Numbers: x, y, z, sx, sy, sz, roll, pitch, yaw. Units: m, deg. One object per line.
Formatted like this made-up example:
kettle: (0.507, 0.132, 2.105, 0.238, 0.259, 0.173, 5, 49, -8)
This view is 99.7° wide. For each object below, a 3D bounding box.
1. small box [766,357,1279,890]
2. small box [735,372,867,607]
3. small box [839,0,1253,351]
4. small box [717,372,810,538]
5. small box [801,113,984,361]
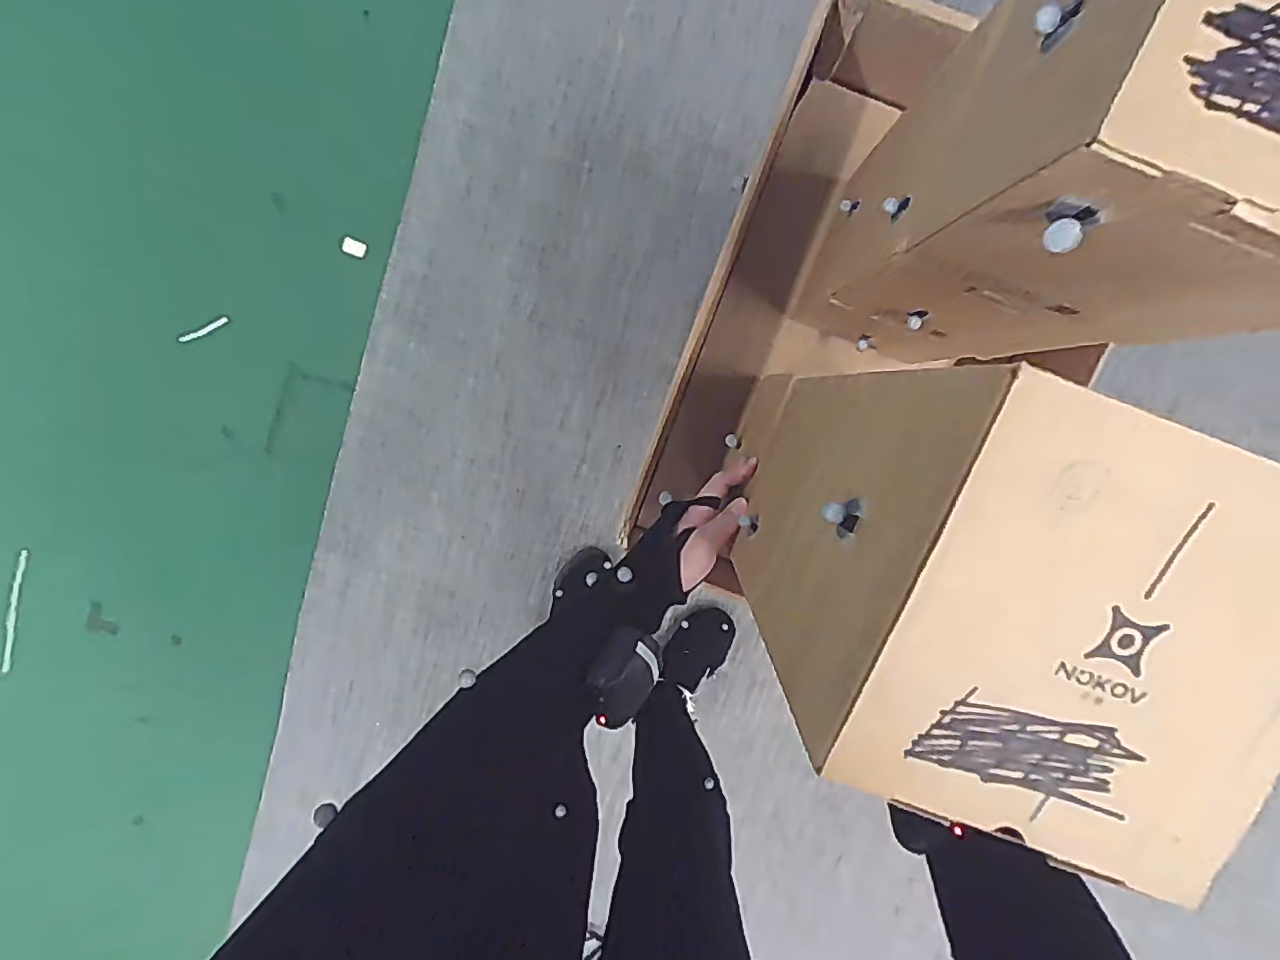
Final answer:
small box: (0.180, 0.050, 0.287, 0.168, 0.176, 0.179, 21, 100, -2)
small box: (0.189, 0.023, 0.449, 0.168, 0.176, 0.179, 22, 100, -1)
small box: (0.284, -0.216, 0.430, 0.168, 0.176, 0.179, 20, 100, 0)
small box: (0.195, -0.010, 0.608, 0.168, 0.176, 0.179, 21, 100, -2)
small box: (0.294, -0.243, 0.589, 0.168, 0.176, 0.179, 21, 100, 1)
